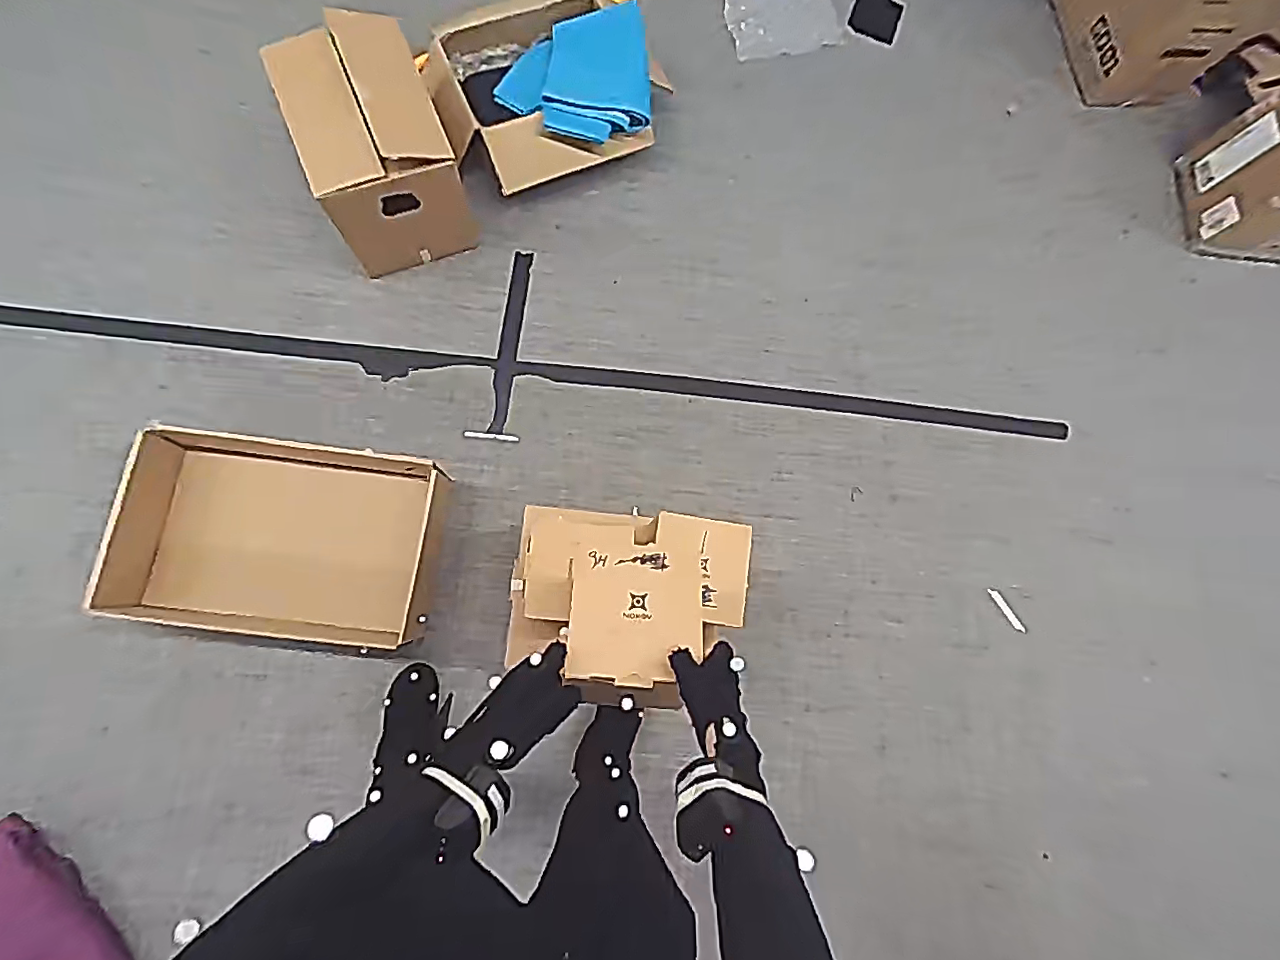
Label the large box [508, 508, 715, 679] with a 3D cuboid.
[{"bbox_3d":[-0.063,0.251,1.203,0.408,0.320,0.320,6,78,-6],"label":"large box"}]

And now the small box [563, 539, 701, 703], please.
[{"bbox_3d":[-0.011,0.199,0.741,0.168,0.176,0.179,5,58,-3],"label":"small box"}]

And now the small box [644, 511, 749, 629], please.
[{"bbox_3d":[0.088,0.168,0.986,0.168,0.176,0.179,10,76,-4],"label":"small box"}]
